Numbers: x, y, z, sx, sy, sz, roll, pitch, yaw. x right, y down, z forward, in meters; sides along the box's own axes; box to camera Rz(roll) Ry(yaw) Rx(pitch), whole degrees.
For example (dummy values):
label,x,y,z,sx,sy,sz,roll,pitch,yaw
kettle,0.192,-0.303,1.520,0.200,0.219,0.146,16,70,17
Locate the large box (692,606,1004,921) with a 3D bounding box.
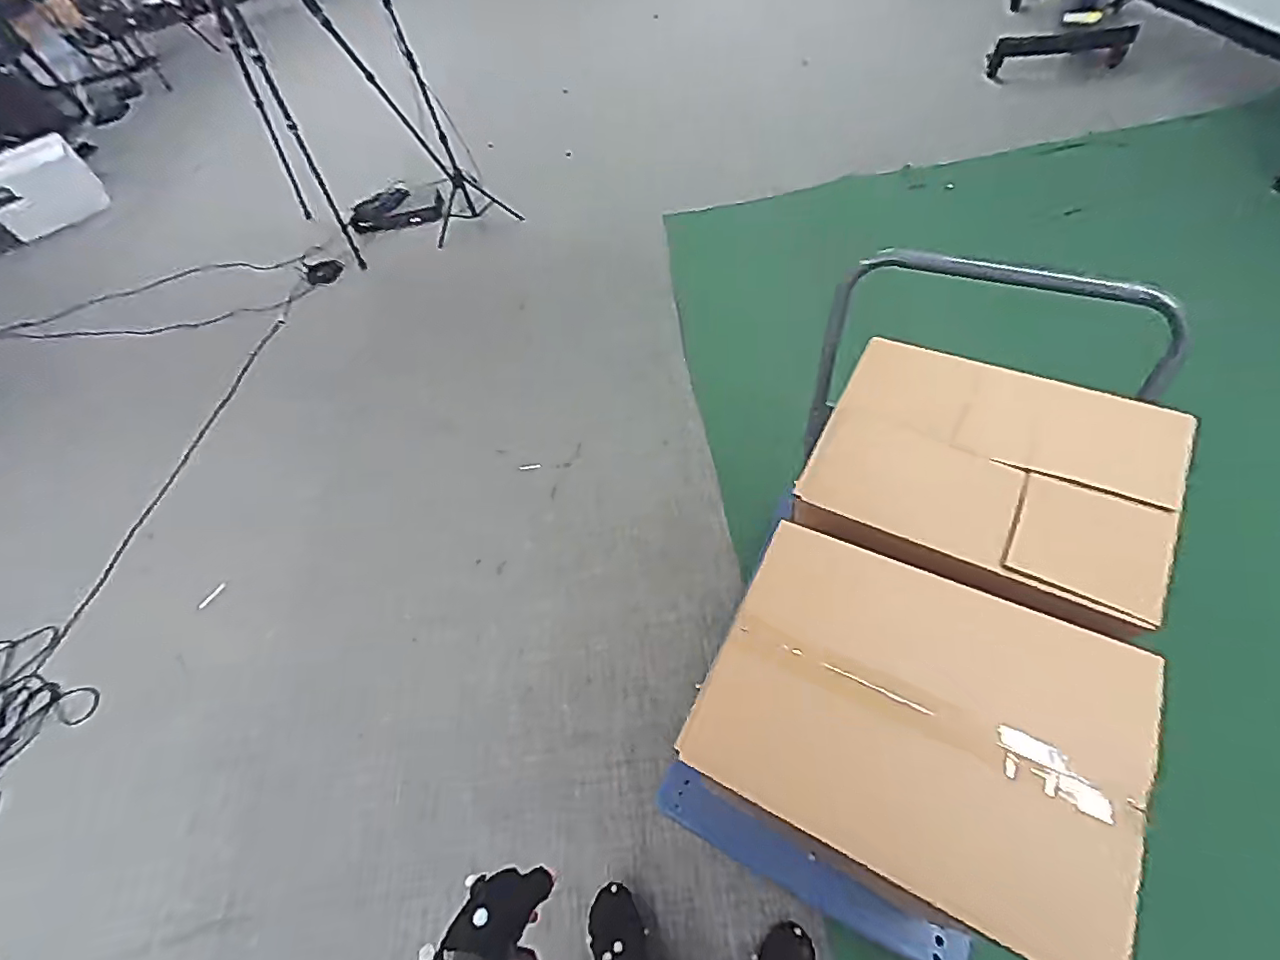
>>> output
label,x,y,z,sx,sy,sz,roll,pitch,yaw
large box,0.348,0.487,0.961,0.408,0.320,0.320,20,60,23
